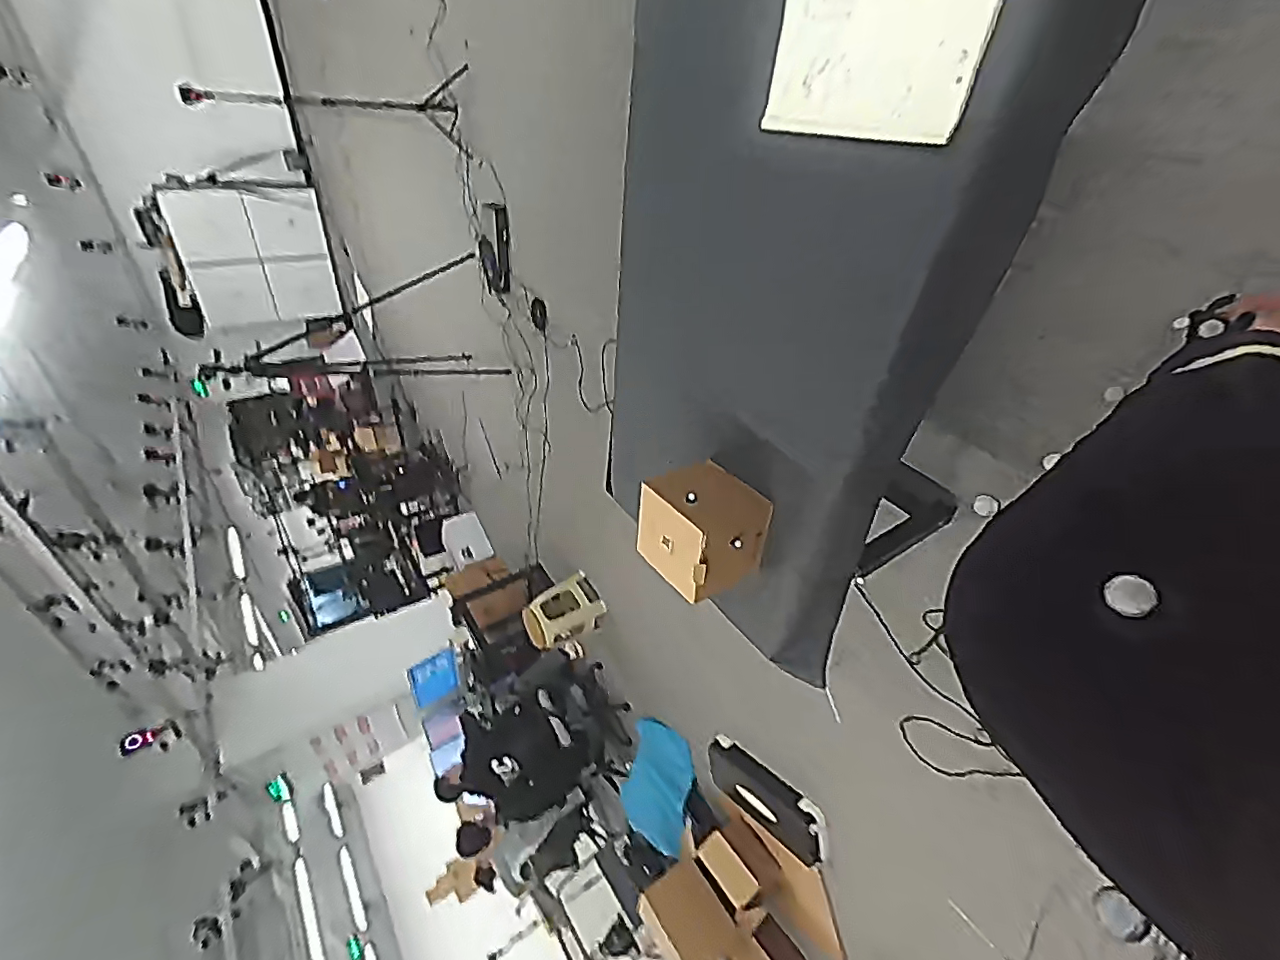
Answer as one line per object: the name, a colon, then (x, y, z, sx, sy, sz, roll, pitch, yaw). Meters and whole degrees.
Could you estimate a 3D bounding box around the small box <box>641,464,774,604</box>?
small box: (0.121, 0.089, 1.002, 0.179, 0.176, 0.168, 41, 137, 42)
